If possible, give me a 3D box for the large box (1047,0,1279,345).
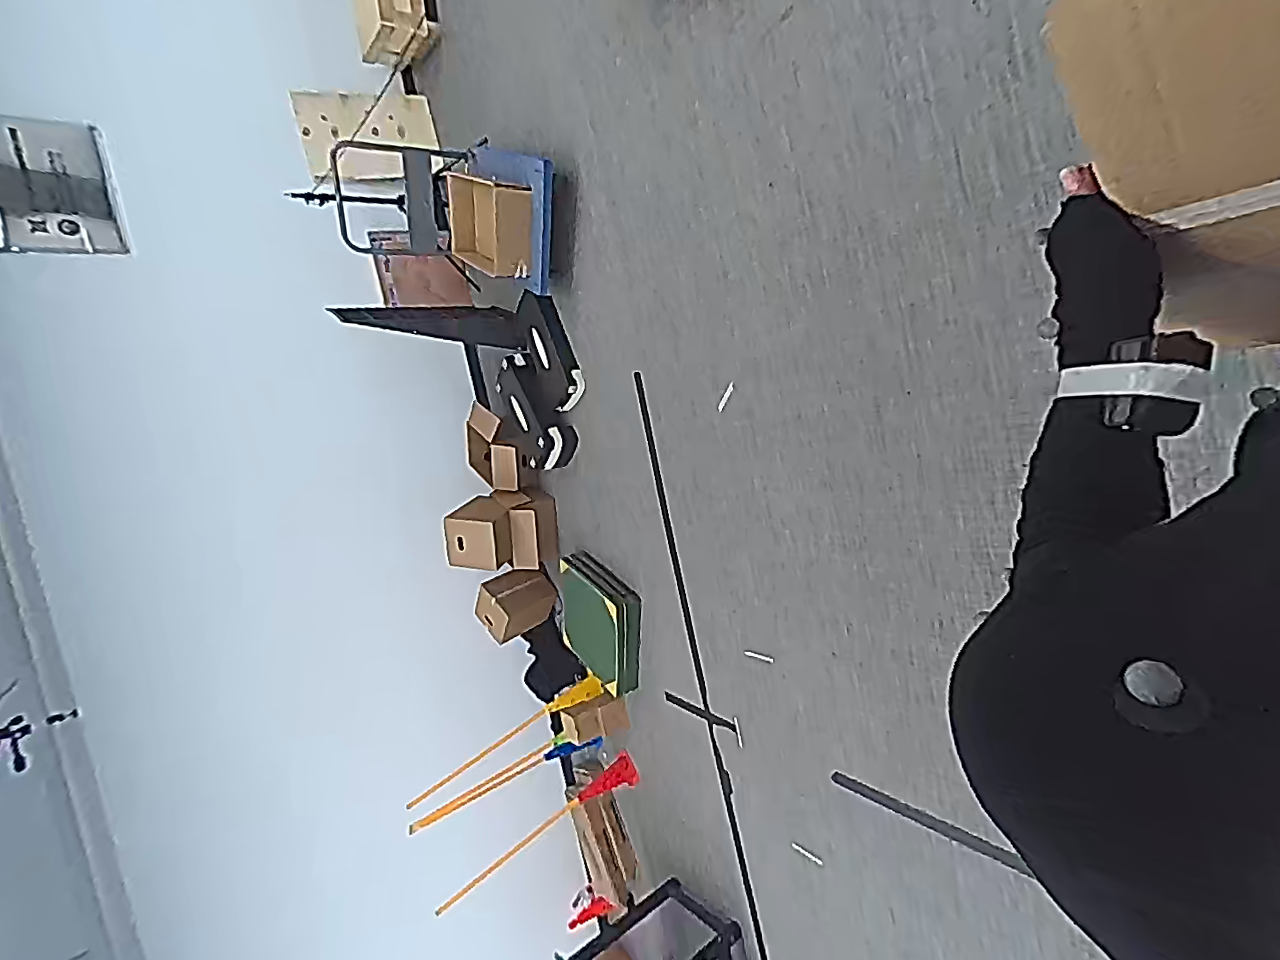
[{"bbox_3d":[0.497,-0.302,0.238,0.408,0.320,0.320,6,70,56],"label":"large box"}]
